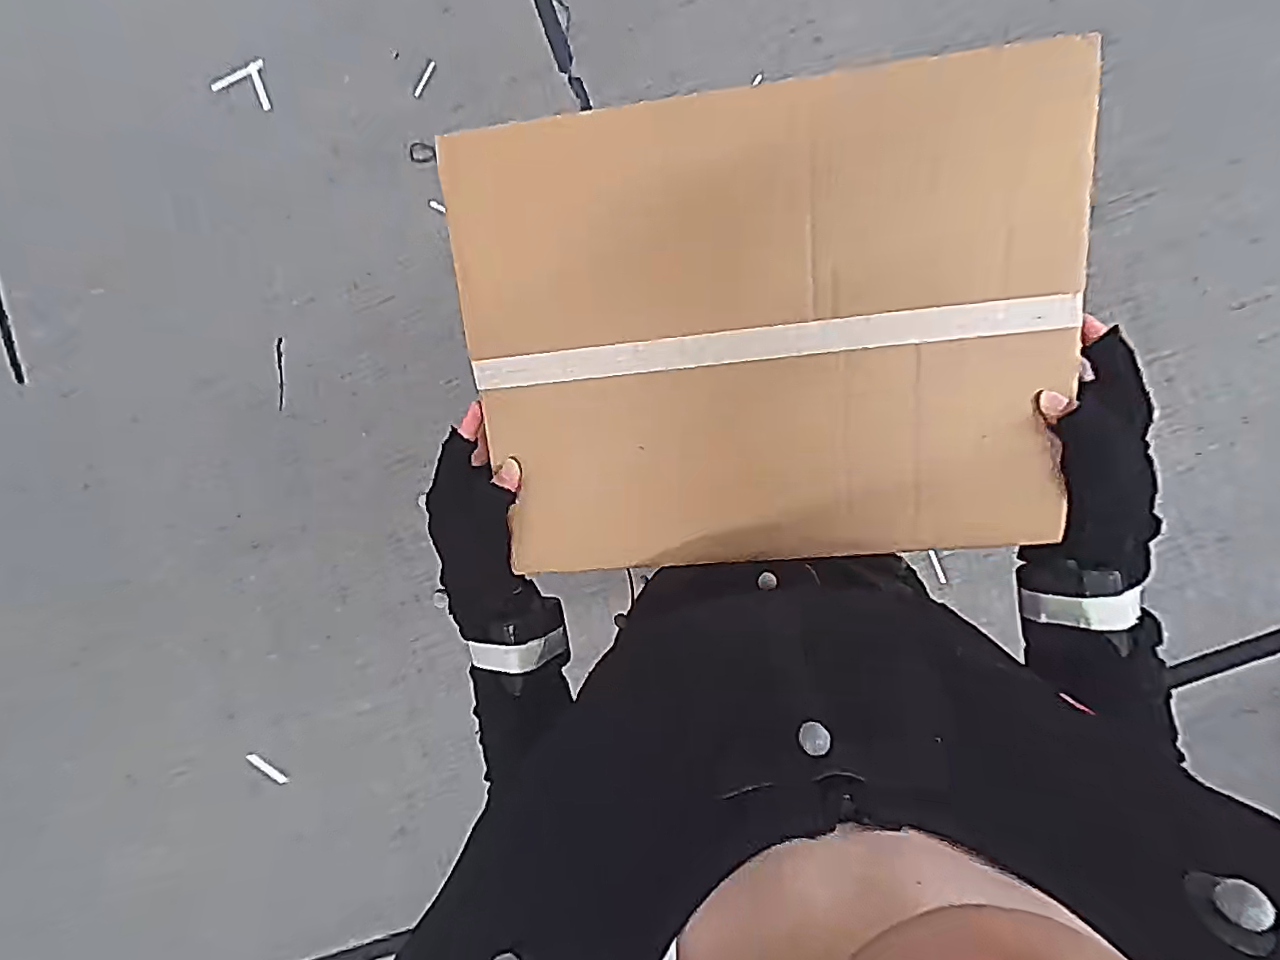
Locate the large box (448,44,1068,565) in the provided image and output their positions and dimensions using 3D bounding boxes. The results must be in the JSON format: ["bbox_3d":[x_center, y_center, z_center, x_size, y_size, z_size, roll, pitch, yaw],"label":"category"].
[{"bbox_3d":[0.091,-0.131,0.525,0.408,0.320,0.320,-5,104,7],"label":"large box"}]
